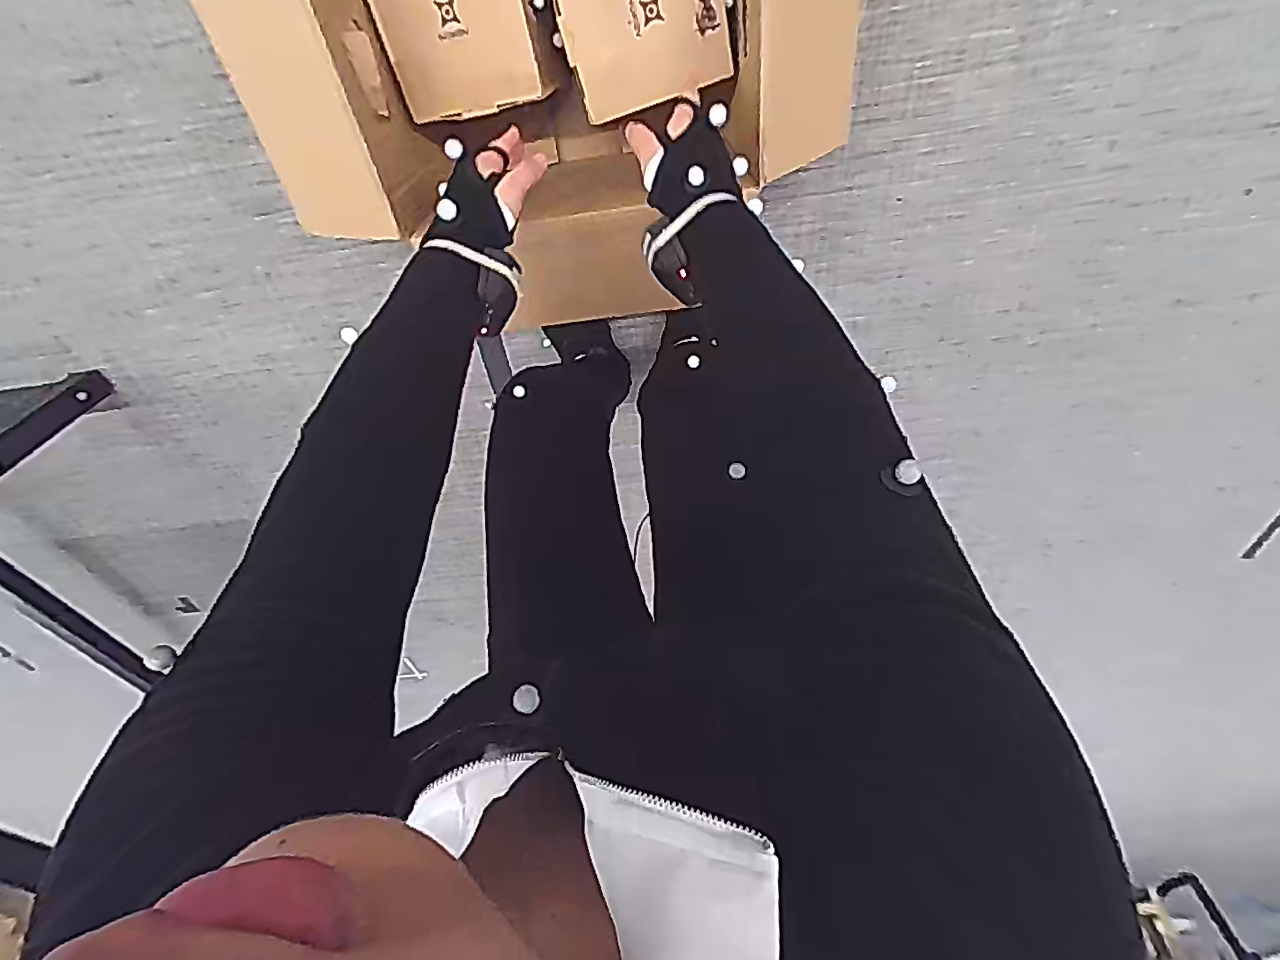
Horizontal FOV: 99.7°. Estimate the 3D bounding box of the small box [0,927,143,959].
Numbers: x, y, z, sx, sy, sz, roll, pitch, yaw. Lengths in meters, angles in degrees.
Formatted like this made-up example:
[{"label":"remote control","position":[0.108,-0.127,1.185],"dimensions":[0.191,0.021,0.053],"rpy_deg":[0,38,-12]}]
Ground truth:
[{"label":"small box","position":[-1.162,0.999,1.063],"dimensions":[0.168,0.176,0.179],"rpy_deg":[-11,131,10]}]
